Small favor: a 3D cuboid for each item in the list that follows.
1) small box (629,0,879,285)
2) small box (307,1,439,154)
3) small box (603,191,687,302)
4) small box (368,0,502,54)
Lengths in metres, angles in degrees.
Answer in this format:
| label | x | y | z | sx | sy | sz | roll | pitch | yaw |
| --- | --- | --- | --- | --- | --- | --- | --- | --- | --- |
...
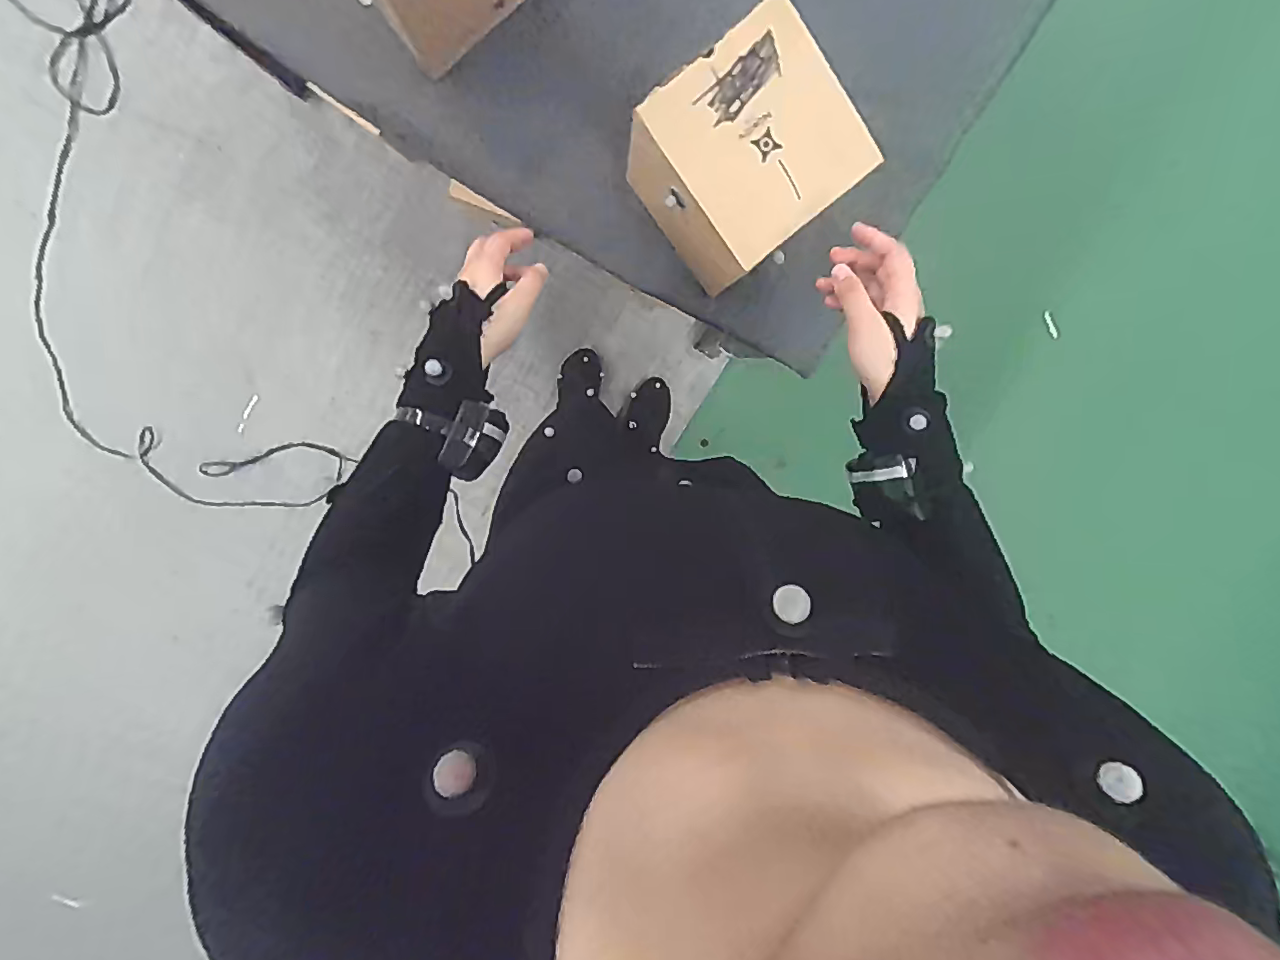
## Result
| label | x | y | z | sx | sy | sz | roll | pitch | yaw |
| --- | --- | --- | --- | --- | --- | --- | --- | --- | --- |
| small box | 0.100 | -0.332 | 0.566 | 0.168 | 0.176 | 0.179 | -38 | 101 | 4 |
| small box | -0.566 | -0.854 | 1.173 | 0.168 | 0.176 | 0.179 | 34 | 99 | -9 |
| small box | 0.026 | -0.535 | 1.267 | 0.168 | 0.176 | 0.179 | 25 | 101 | -8 |
| small box | -0.223 | -0.554 | 0.506 | 0.168 | 0.176 | 0.179 | -39 | 100 | 4 |
